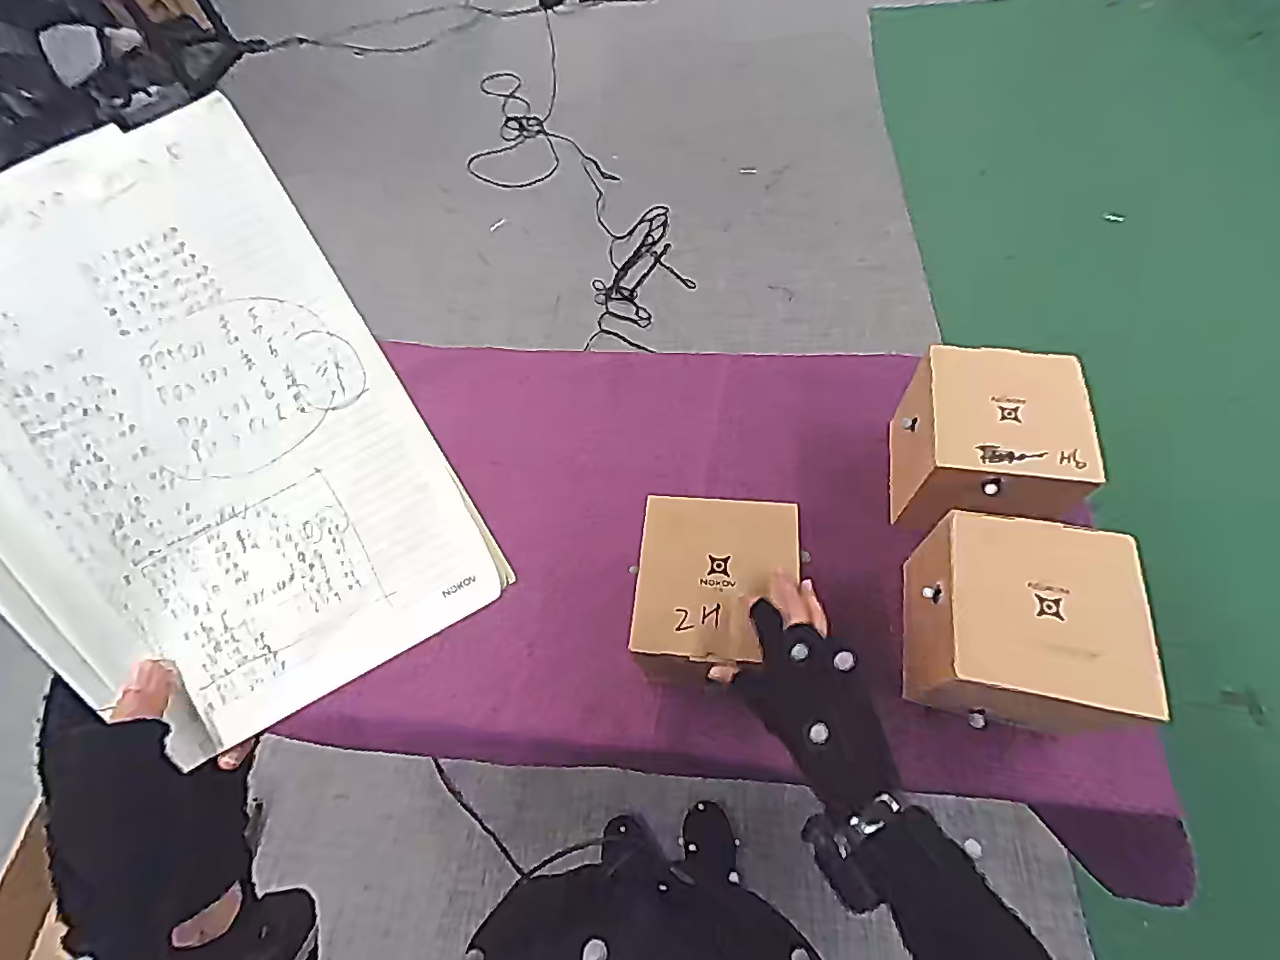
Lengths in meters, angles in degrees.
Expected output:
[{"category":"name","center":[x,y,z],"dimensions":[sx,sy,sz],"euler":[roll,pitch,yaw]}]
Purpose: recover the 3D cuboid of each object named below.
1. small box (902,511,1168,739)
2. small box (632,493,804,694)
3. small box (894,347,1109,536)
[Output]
[{"category":"small box","center":[0.391,0.158,0.573],"dimensions":[0.168,0.176,0.179],"euler":[10,63,13]},{"category":"small box","center":[0.090,0.134,0.619],"dimensions":[0.168,0.176,0.179],"euler":[4,62,9]},{"category":"small box","center":[0.427,-0.038,0.675],"dimensions":[0.168,0.176,0.179],"euler":[8,62,11]}]
